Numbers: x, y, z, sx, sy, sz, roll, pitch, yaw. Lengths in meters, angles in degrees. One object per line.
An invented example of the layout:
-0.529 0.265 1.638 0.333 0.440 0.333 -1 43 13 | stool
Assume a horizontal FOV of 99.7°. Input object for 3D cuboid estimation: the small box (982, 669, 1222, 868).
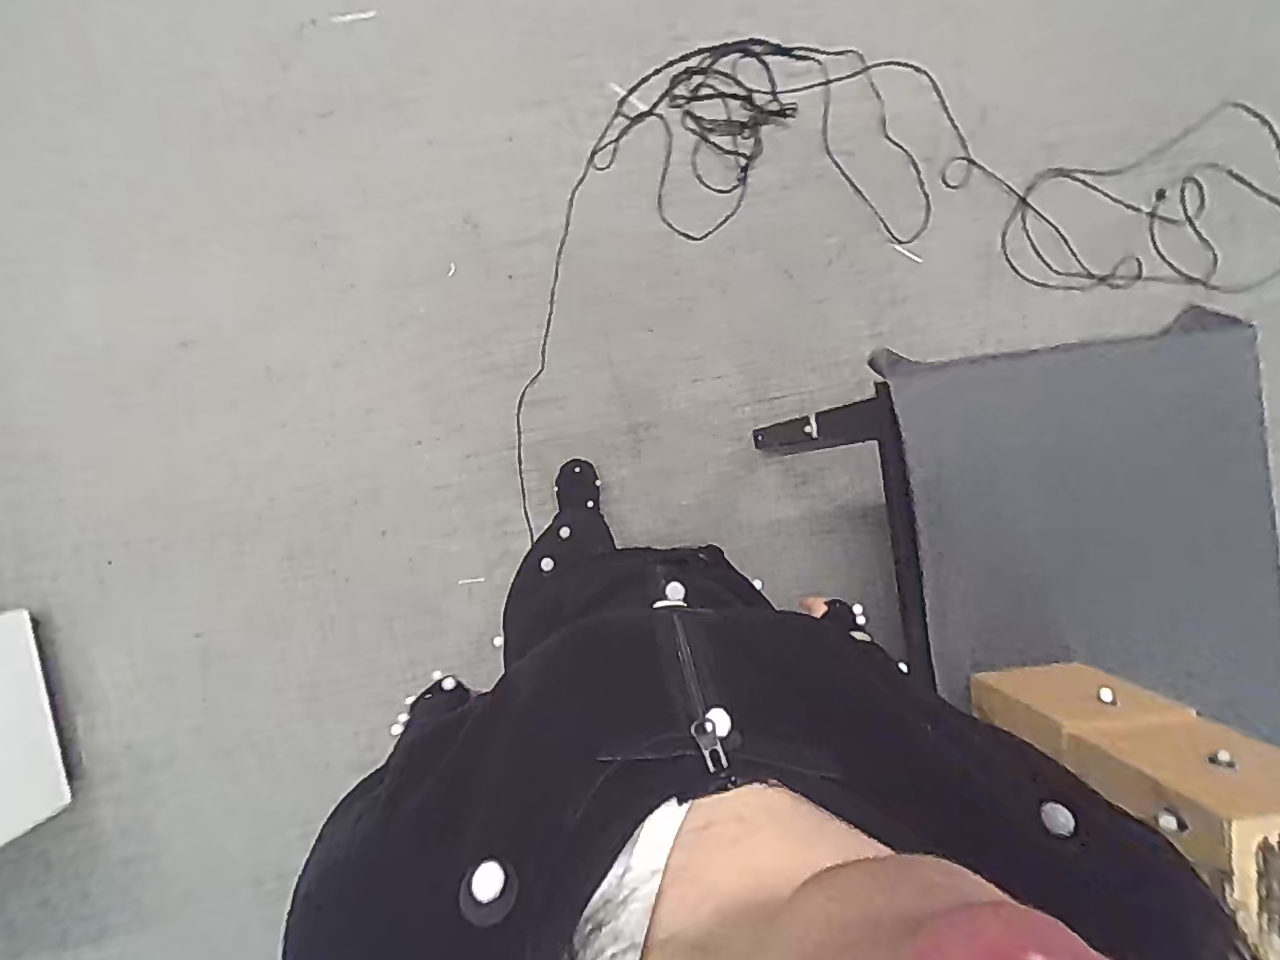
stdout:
0.594 0.364 0.714 0.179 0.176 0.168 -5 91 -4 | small box
